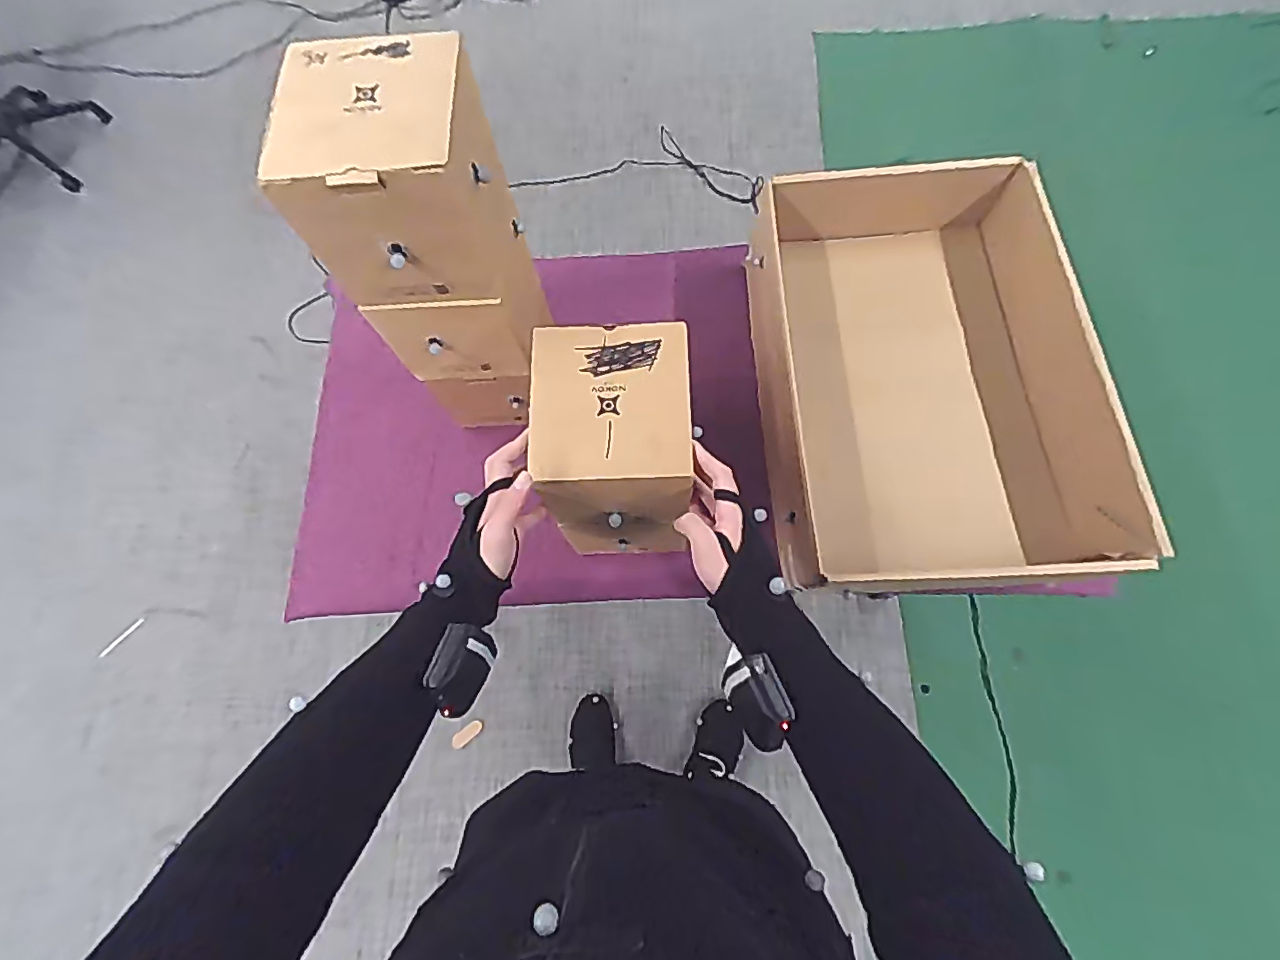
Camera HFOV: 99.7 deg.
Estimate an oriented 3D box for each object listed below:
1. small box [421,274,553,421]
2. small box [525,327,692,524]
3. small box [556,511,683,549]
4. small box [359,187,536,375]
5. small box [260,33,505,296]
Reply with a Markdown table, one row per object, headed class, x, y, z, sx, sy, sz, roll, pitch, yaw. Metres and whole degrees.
| class | x | y | z | sx | sy | sz | roll | pitch | yaw |
| --- | --- | --- | --- | --- | --- | --- | --- | --- | --- |
| small box | -0.228 | -0.201 | 0.865 | 0.168 | 0.176 | 0.179 | -2 | 71 | 1 |
| small box | -0.028 | -0.055 | 0.628 | 0.168 | 0.176 | 0.179 | -2 | 71 | 3 |
| small box | -0.022 | 0.002 | 0.782 | 0.168 | 0.176 | 0.179 | -1 | 71 | 2 |
| small box | -0.237 | -0.249 | 0.711 | 0.168 | 0.176 | 0.179 | -2 | 71 | 1 |
| small box | -0.242 | -0.307 | 0.557 | 0.168 | 0.176 | 0.179 | -3 | 72 | 1 |
